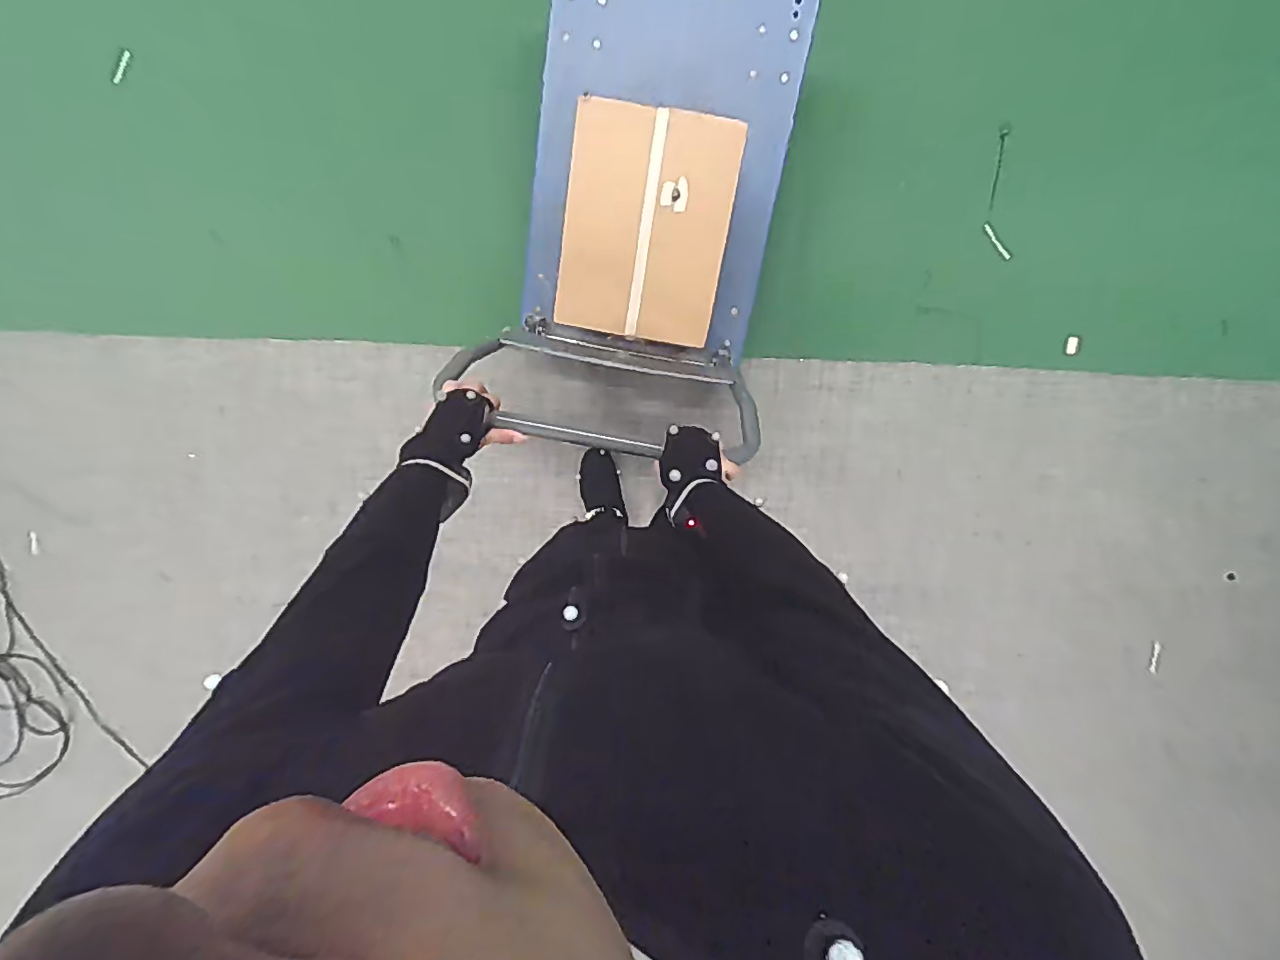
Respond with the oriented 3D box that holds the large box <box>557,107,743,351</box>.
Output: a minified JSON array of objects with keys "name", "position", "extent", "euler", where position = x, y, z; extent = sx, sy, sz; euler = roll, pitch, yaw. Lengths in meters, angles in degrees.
[{"name":"large box","position":[0.020,-0.515,1.190],"extent":[0.320,0.320,0.408],"euler":[10,107,0]}]
